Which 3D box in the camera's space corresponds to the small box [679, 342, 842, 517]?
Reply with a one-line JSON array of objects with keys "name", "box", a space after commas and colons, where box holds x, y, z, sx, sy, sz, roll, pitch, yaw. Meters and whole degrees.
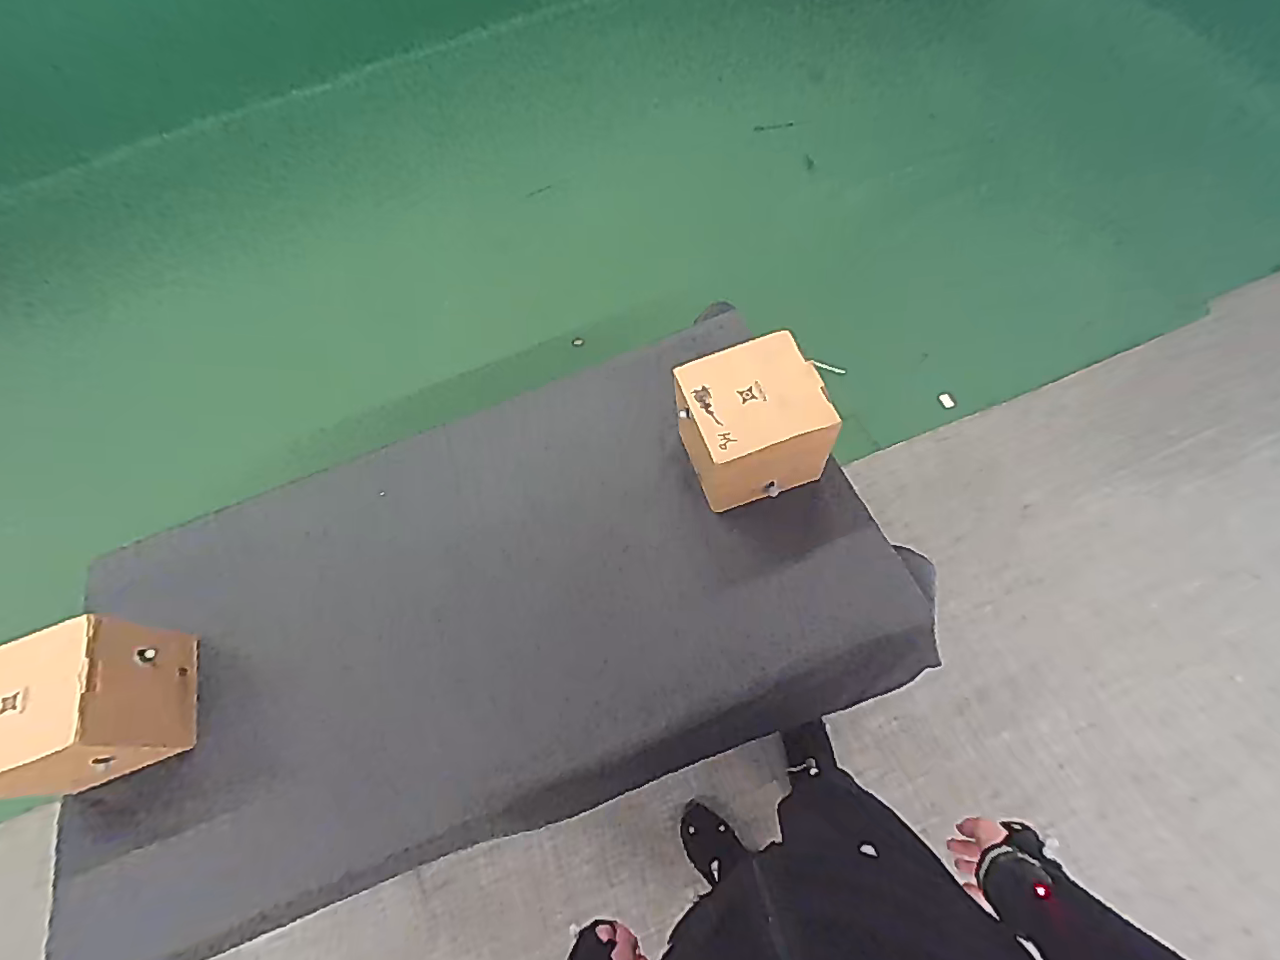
[{"name": "small box", "box": [0.165, -0.068, 0.802, 0.179, 0.176, 0.168, -19, 64, -2]}]

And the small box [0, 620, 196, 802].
[{"name": "small box", "box": [-0.737, 0.305, 0.711, 0.179, 0.176, 0.168, -19, 61, -3]}]
